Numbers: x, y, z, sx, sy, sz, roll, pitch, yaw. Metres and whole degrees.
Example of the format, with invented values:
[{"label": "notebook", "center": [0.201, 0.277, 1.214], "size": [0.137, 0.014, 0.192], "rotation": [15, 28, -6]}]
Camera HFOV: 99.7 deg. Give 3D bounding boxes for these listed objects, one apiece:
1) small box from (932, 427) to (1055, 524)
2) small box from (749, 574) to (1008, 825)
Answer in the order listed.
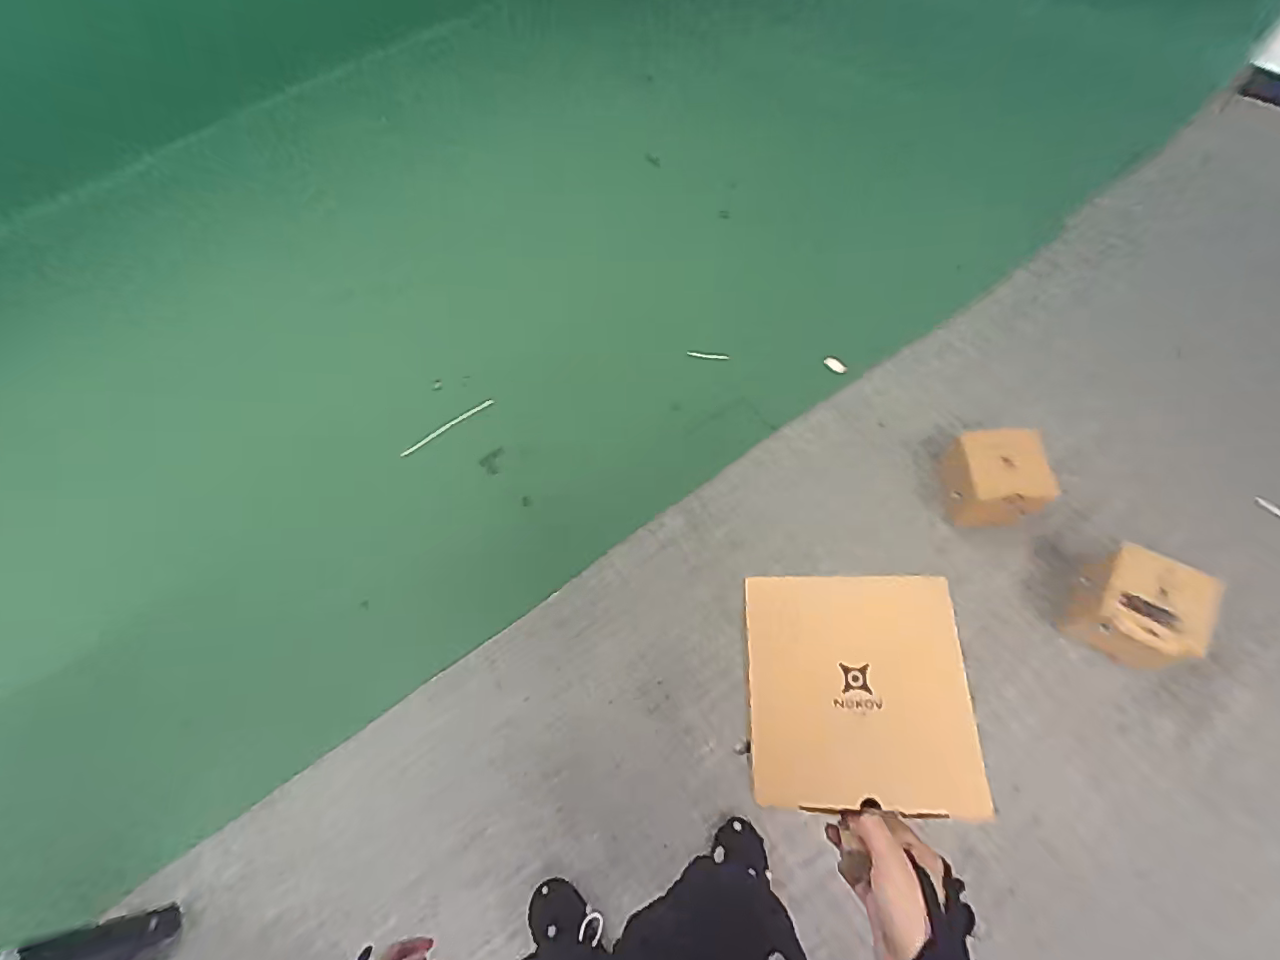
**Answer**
[{"label": "small box", "center": [0.811, -0.003, 1.260], "size": [0.168, 0.176, 0.179], "rotation": [-3, 61, 6]}, {"label": "small box", "center": [0.188, 0.192, 0.489], "size": [0.168, 0.176, 0.179], "rotation": [-1, 66, 9]}]
